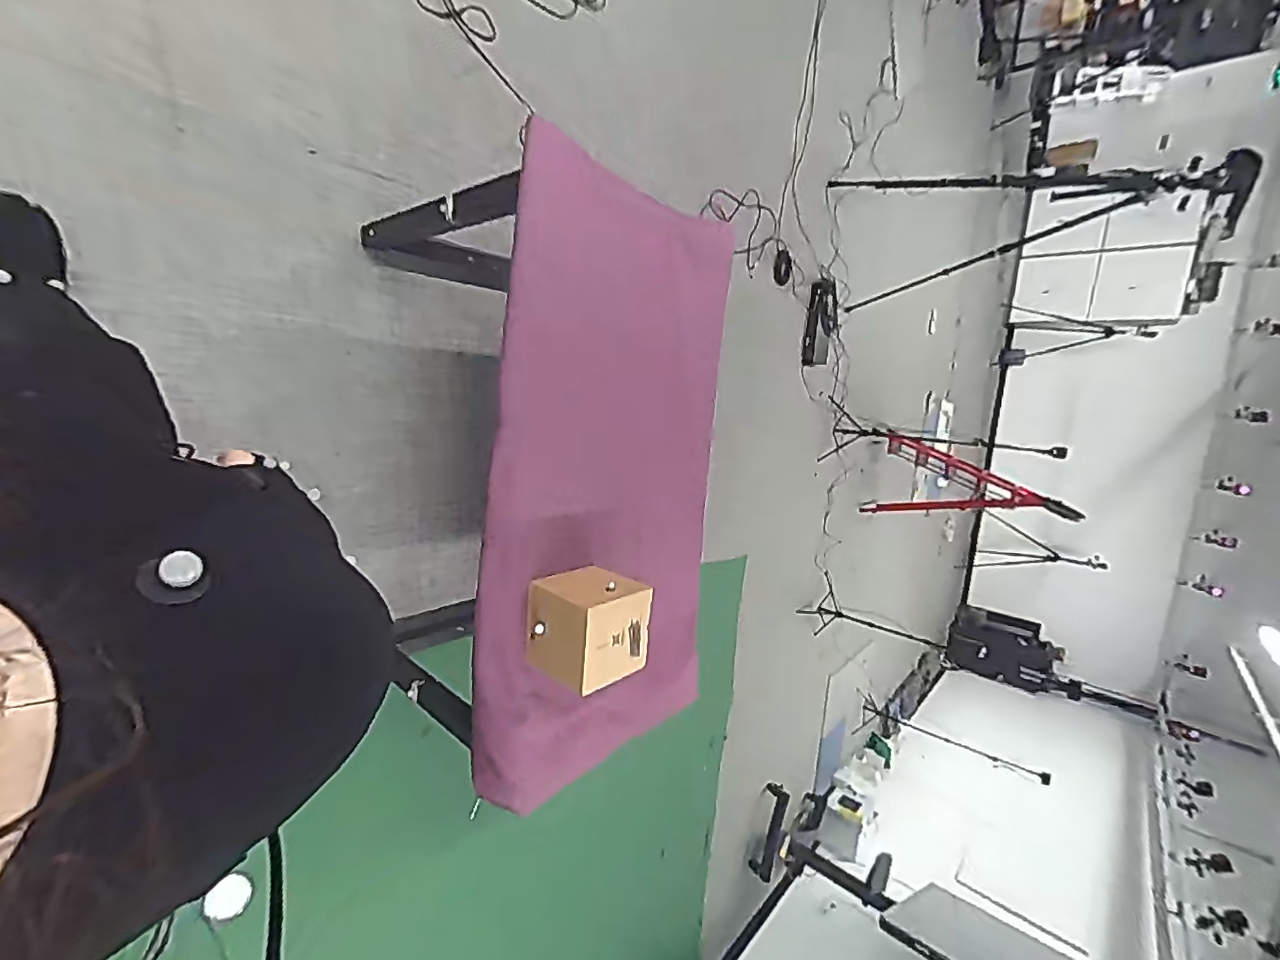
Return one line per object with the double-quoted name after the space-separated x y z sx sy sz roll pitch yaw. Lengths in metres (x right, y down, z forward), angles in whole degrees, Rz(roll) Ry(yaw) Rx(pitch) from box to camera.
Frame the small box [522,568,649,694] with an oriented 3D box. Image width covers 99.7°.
-0.106 0.280 1.056 0.179 0.176 0.168 -5 102 -49 "small box"
